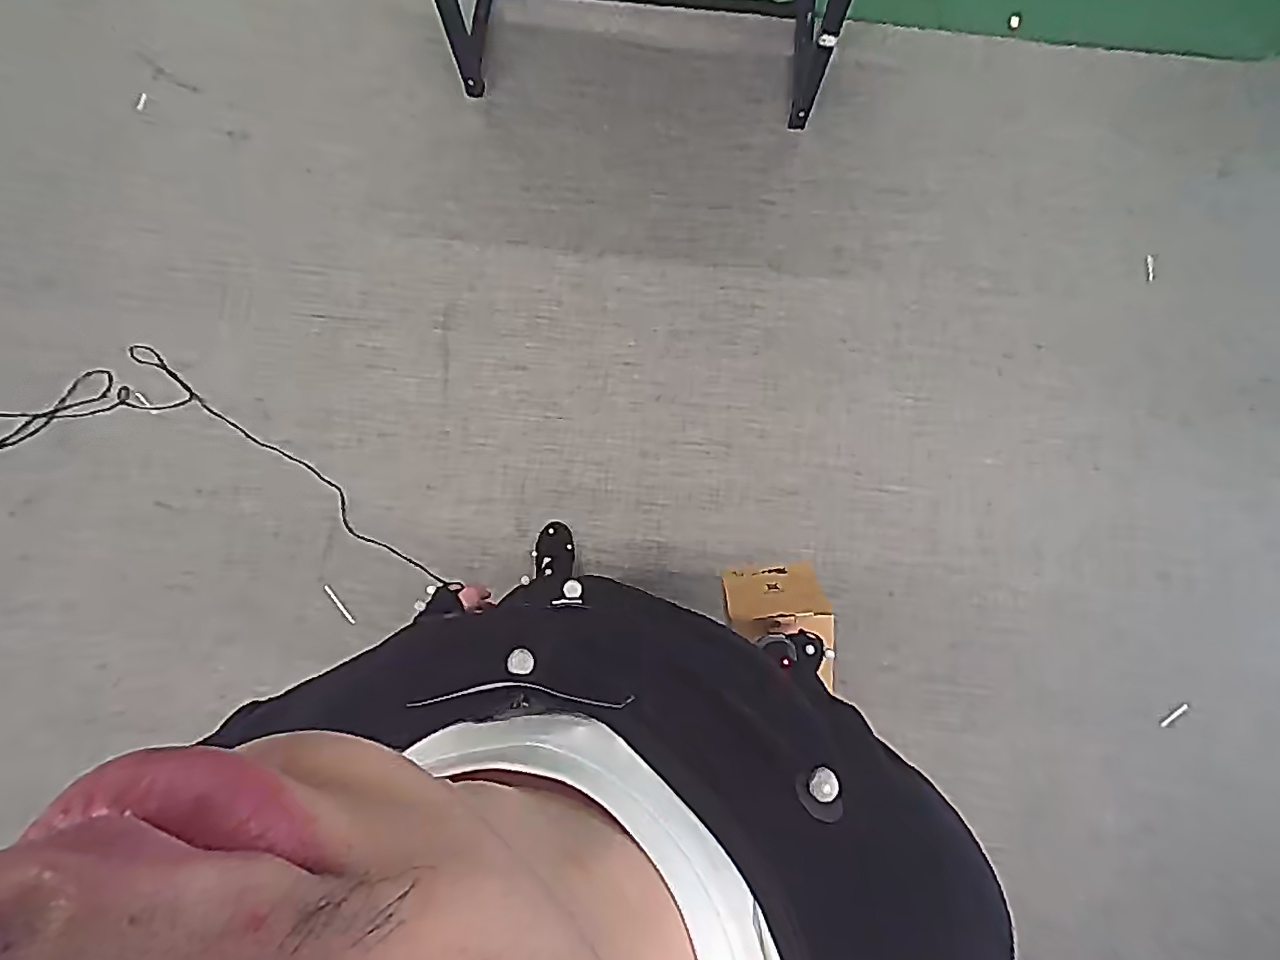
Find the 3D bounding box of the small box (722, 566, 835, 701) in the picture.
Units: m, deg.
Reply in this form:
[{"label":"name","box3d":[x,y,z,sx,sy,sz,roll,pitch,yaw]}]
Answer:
[{"label":"small box","box3d":[0.242,0.274,0.964,0.168,0.179,0.176,-6,107,4]}]
